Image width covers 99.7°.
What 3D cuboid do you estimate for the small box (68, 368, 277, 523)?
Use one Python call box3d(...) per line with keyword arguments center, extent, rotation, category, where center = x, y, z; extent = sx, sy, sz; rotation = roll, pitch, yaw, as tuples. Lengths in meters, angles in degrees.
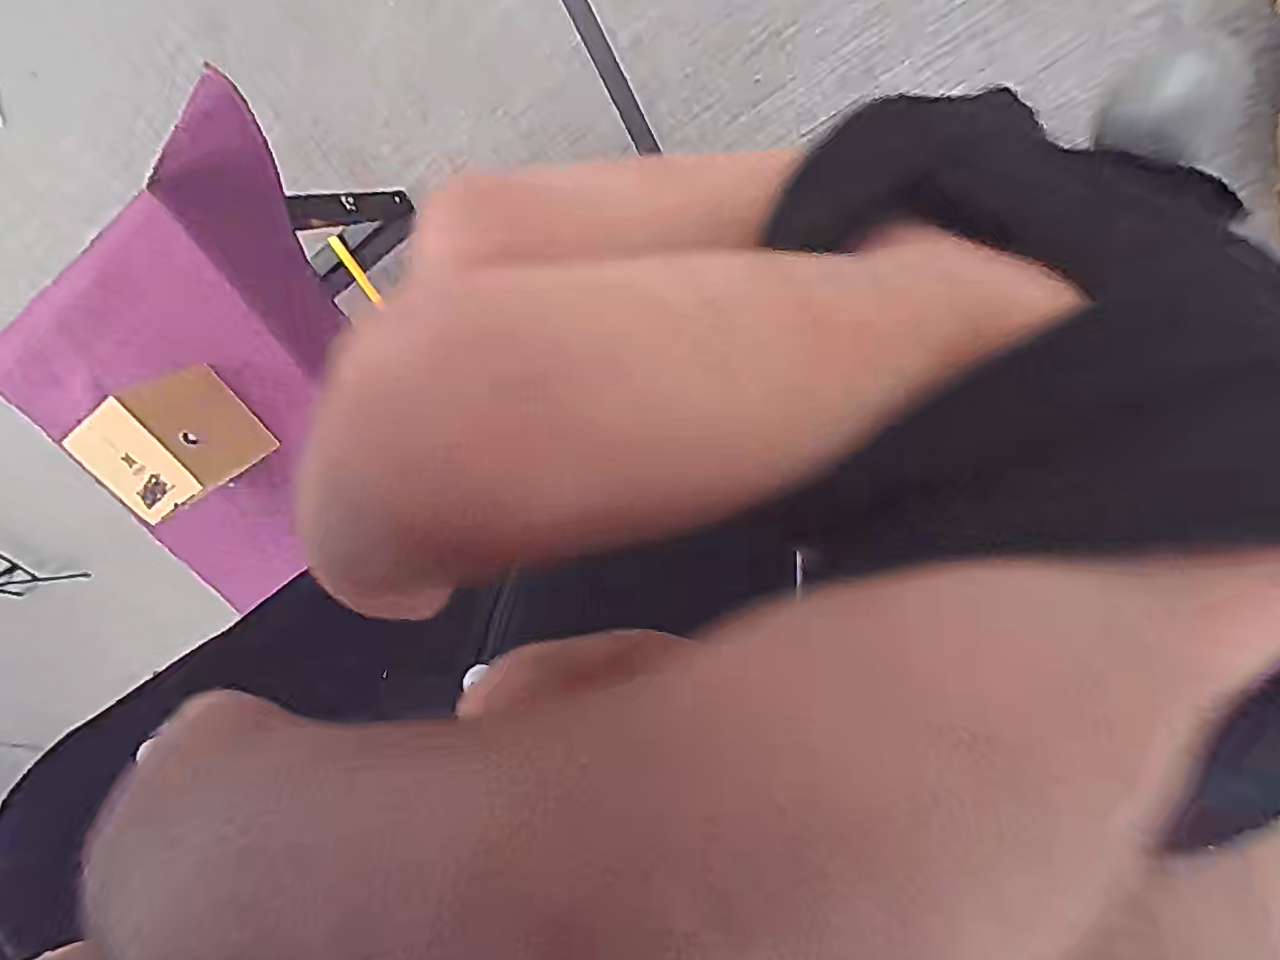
box3d(center=(-0.776, -0.063, 0.918), extent=(0.168, 0.176, 0.179), rotation=(-25, 111, 22), category="small box")
